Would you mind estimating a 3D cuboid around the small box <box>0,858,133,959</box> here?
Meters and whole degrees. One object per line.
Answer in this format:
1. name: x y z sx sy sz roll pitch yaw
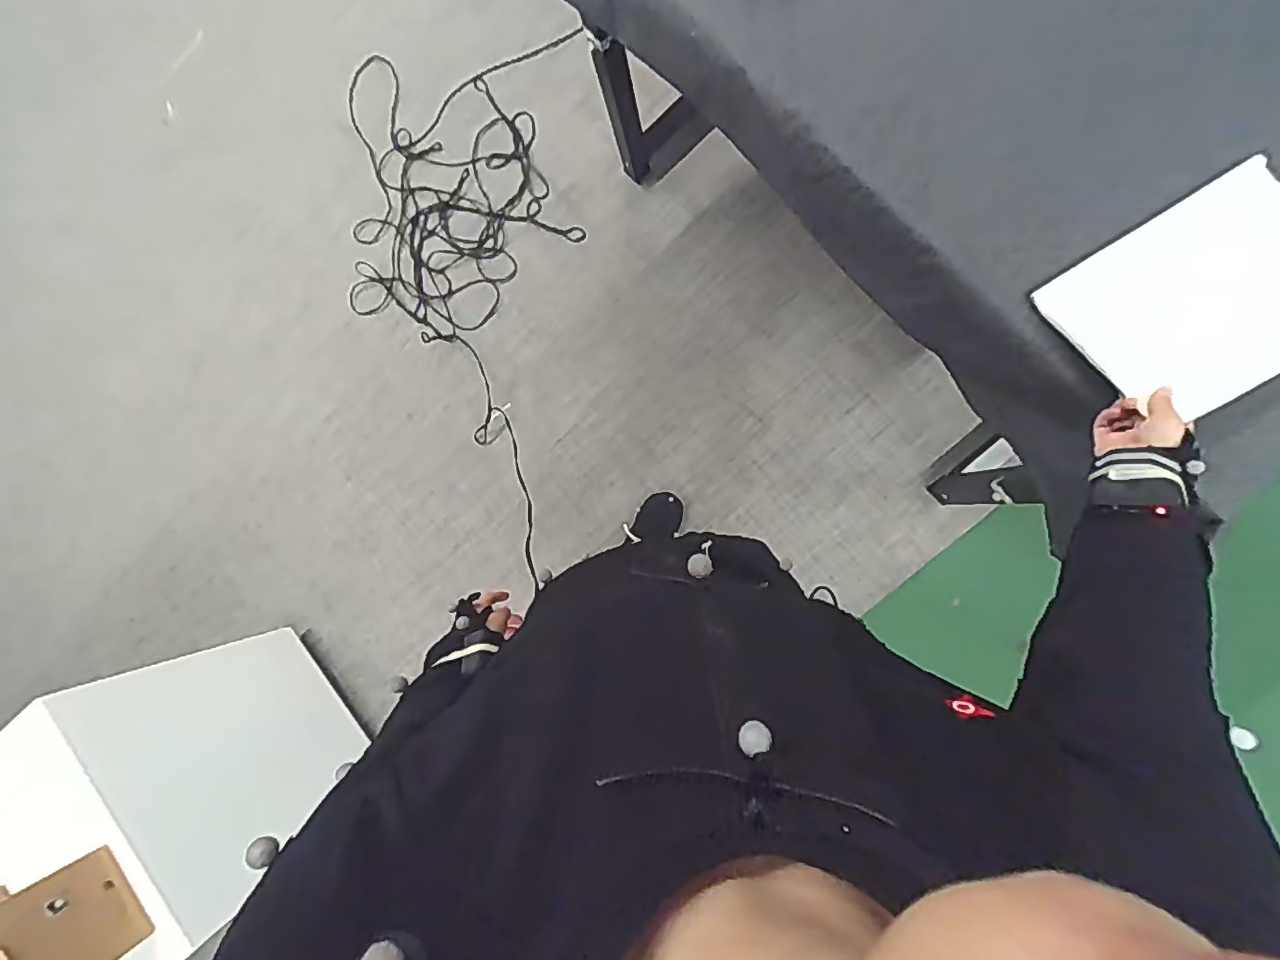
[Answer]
1. small box: -0.909 0.714 0.796 0.179 0.176 0.168 -40 81 6
